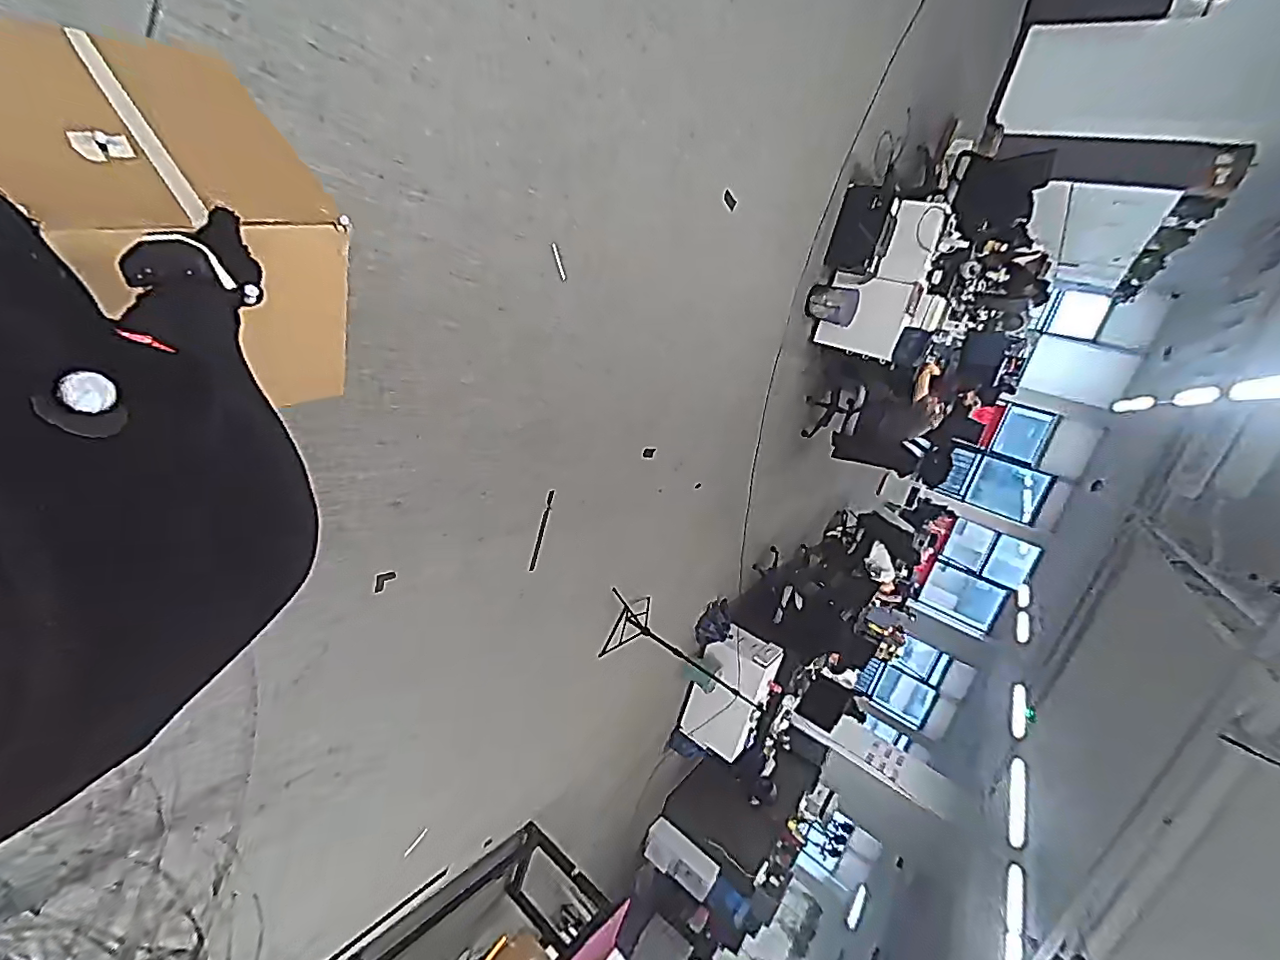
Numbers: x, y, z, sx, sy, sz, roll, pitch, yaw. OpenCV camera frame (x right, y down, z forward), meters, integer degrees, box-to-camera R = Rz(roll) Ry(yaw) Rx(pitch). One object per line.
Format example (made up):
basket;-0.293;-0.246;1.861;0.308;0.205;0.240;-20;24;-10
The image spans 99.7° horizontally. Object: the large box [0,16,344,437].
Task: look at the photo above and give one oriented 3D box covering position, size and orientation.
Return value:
large box;-0.667;-0.335;0.742;0.320;0.408;0.320;-28;163;-41
